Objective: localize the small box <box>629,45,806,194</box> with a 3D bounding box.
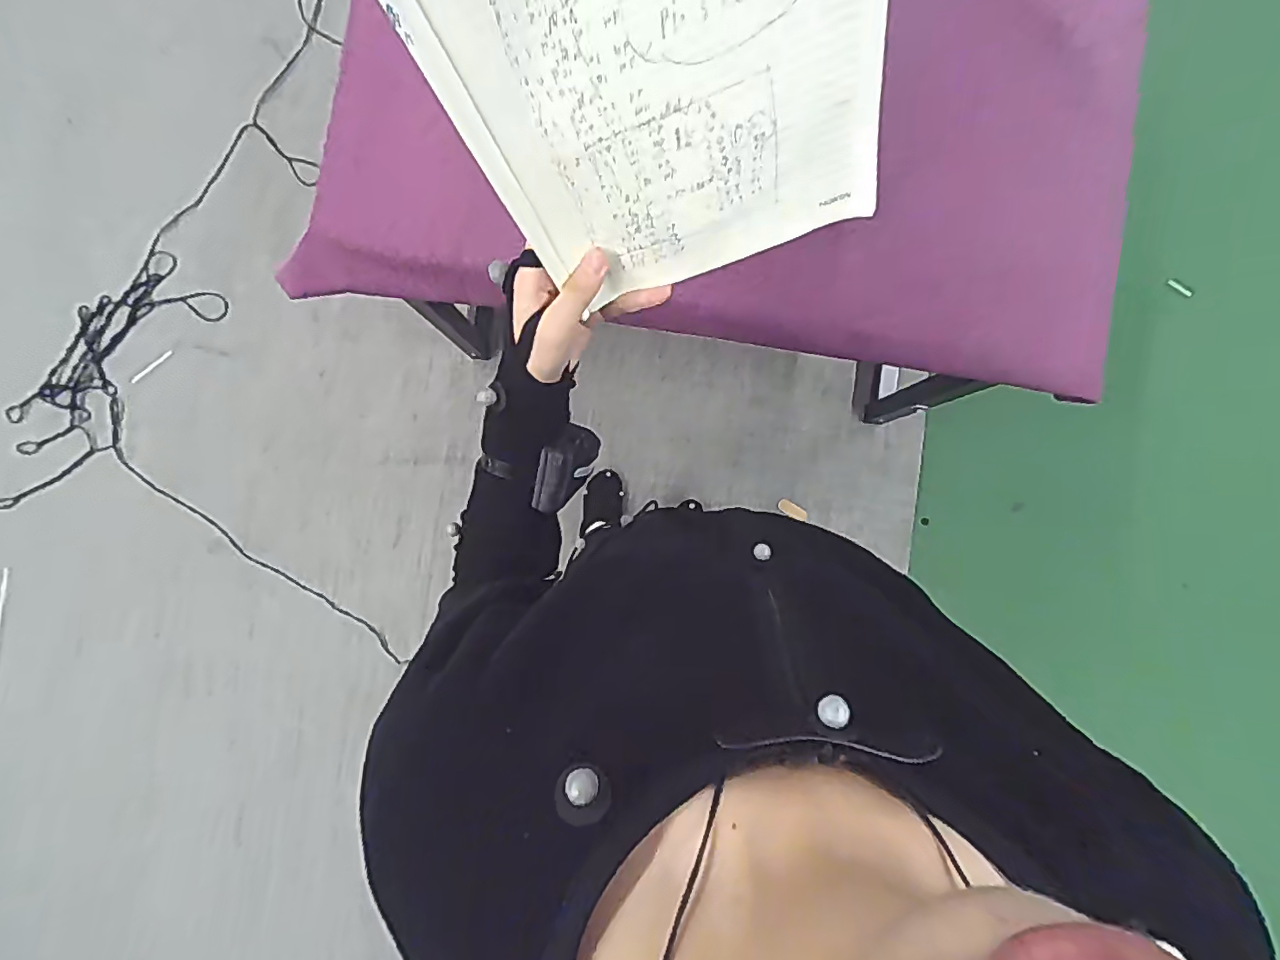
[{"bbox_3d":[0.086,-0.440,0.578,0.168,0.176,0.179,9,86,1],"label":"small box"}]
